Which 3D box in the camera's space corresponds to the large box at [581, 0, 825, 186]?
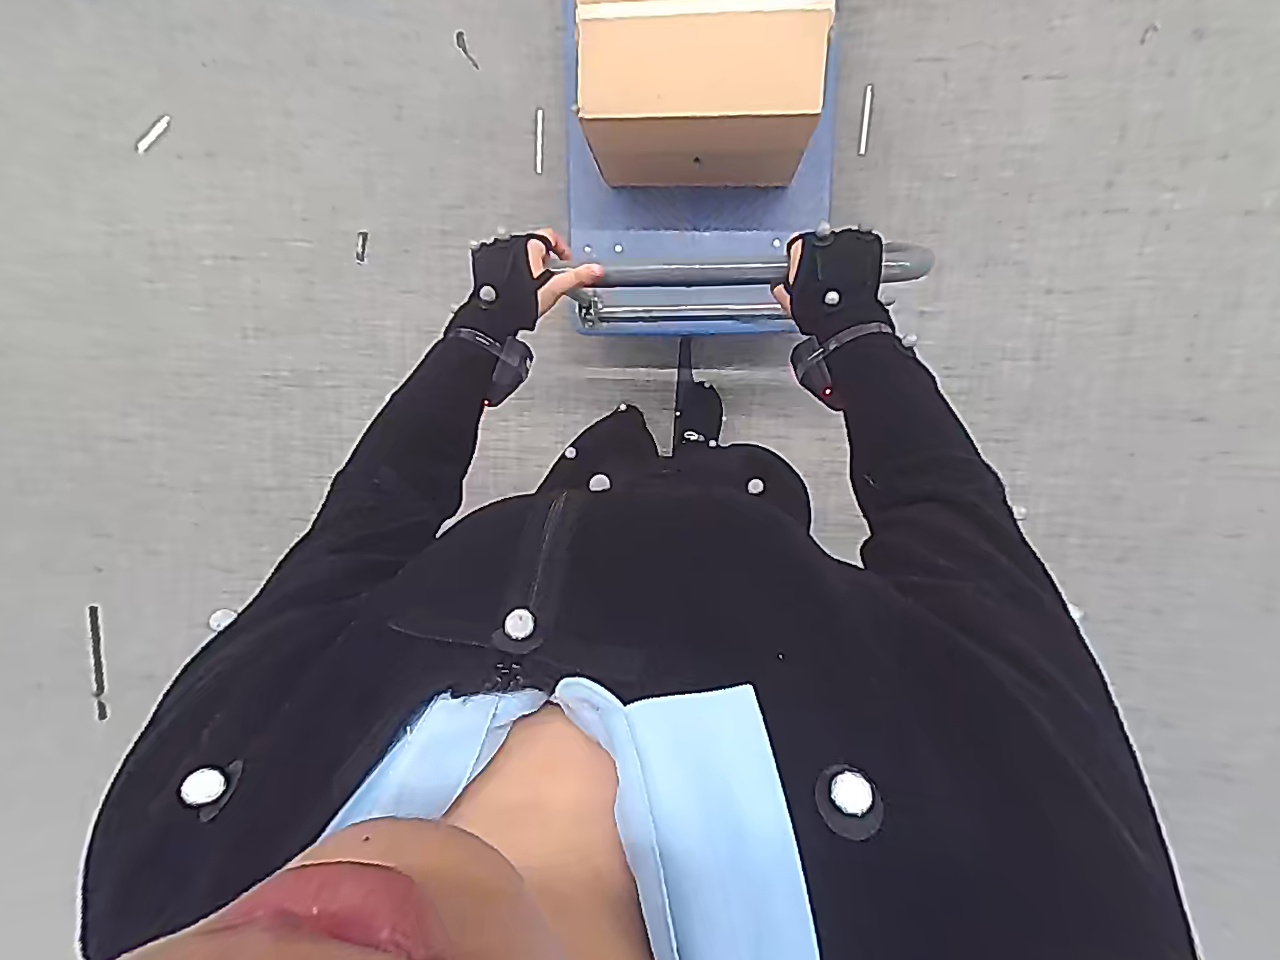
[{"bbox_3d":[0.117,-0.780,1.030,0.408,0.320,0.320,2,98,6],"label":"large box"}]
